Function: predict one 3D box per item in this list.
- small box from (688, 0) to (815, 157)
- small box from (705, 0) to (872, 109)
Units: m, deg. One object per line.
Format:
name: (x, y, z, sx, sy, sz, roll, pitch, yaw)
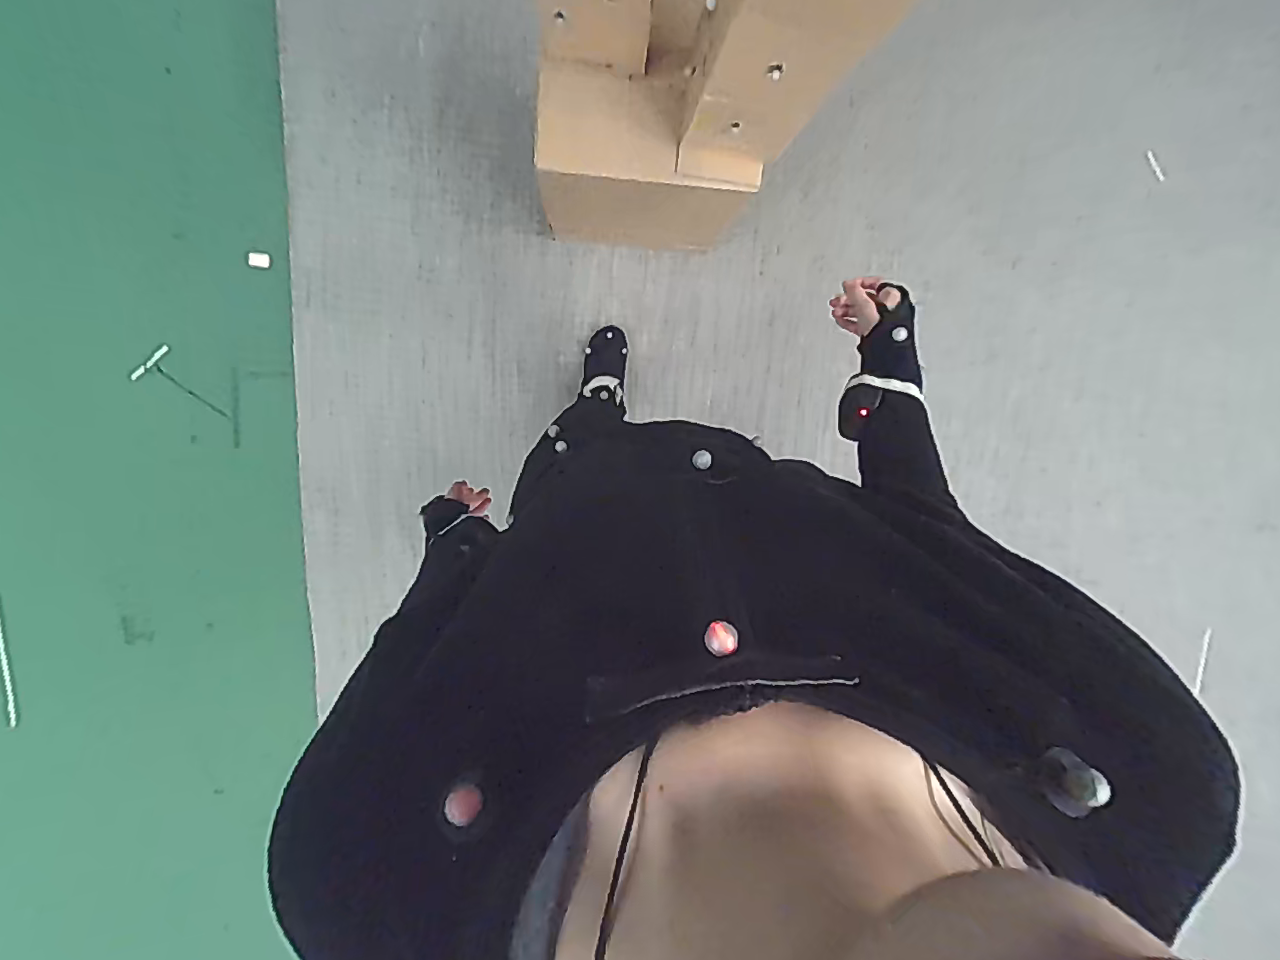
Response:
small box: (0.178, -0.644, 0.864, 0.179, 0.176, 0.168, 5, 101, -5)
small box: (0.196, -0.618, 0.703, 0.179, 0.176, 0.168, 6, 99, -5)
